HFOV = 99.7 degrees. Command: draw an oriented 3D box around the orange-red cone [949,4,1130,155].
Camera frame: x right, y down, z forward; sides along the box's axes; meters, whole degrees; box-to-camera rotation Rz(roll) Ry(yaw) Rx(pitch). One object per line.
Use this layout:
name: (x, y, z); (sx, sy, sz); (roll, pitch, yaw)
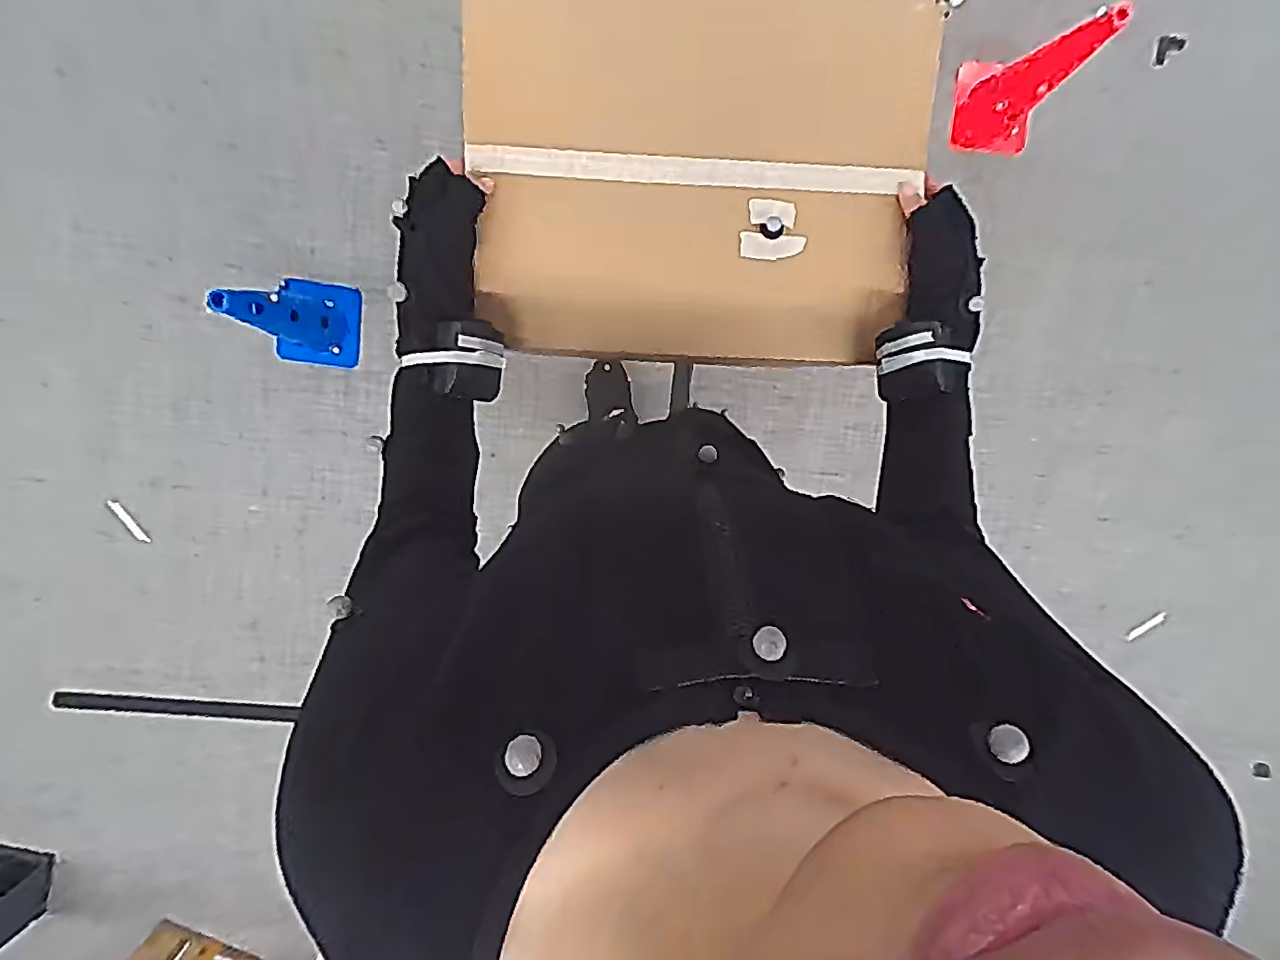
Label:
orange-red cone: (0.895, -0.910, 1.196); (0.198, 0.360, 0.199); (3, 98, -5)

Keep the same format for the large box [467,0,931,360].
large box: (0.041, -0.305, 0.627); (0.408, 0.320, 0.320); (2, 102, -4)

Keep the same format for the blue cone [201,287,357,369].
blue cone: (-0.806, -0.357, 1.202); (0.192, 0.380, 0.193); (9, 98, -4)
